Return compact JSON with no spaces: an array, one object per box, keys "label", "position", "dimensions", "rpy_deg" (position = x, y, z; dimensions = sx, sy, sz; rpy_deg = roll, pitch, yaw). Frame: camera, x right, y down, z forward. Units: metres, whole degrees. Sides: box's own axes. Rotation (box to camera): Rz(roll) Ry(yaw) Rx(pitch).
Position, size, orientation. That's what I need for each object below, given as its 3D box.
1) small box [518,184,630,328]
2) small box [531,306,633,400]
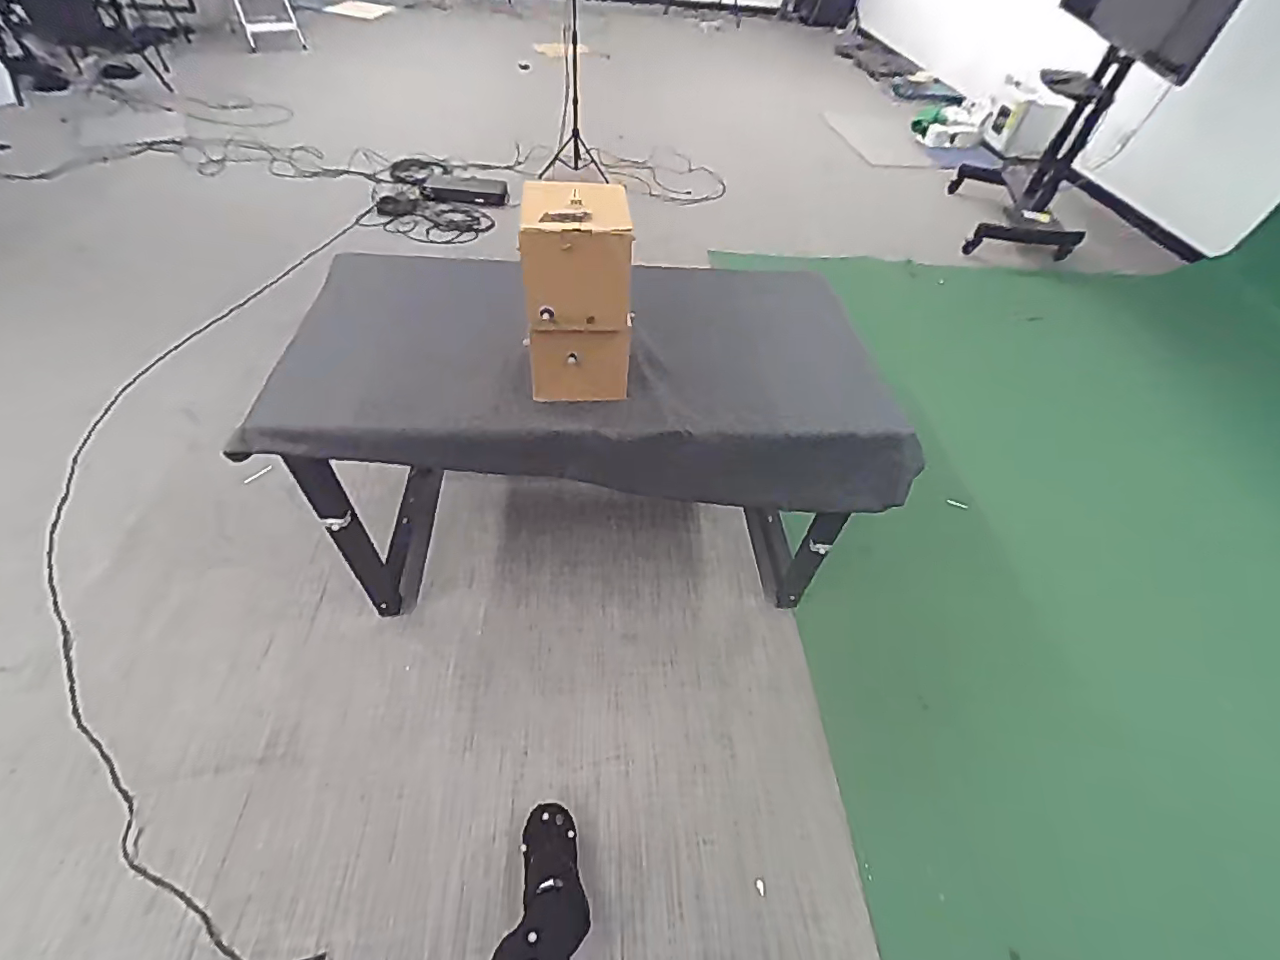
[{"label":"small box","position":[-0.104,-0.366,0.893],"dimensions":[0.168,0.176,0.179],"rpy_deg":[-1,48,-7]},{"label":"small box","position":[-0.114,-0.265,1.026],"dimensions":[0.179,0.176,0.168],"rpy_deg":[-4,48,-10]}]
